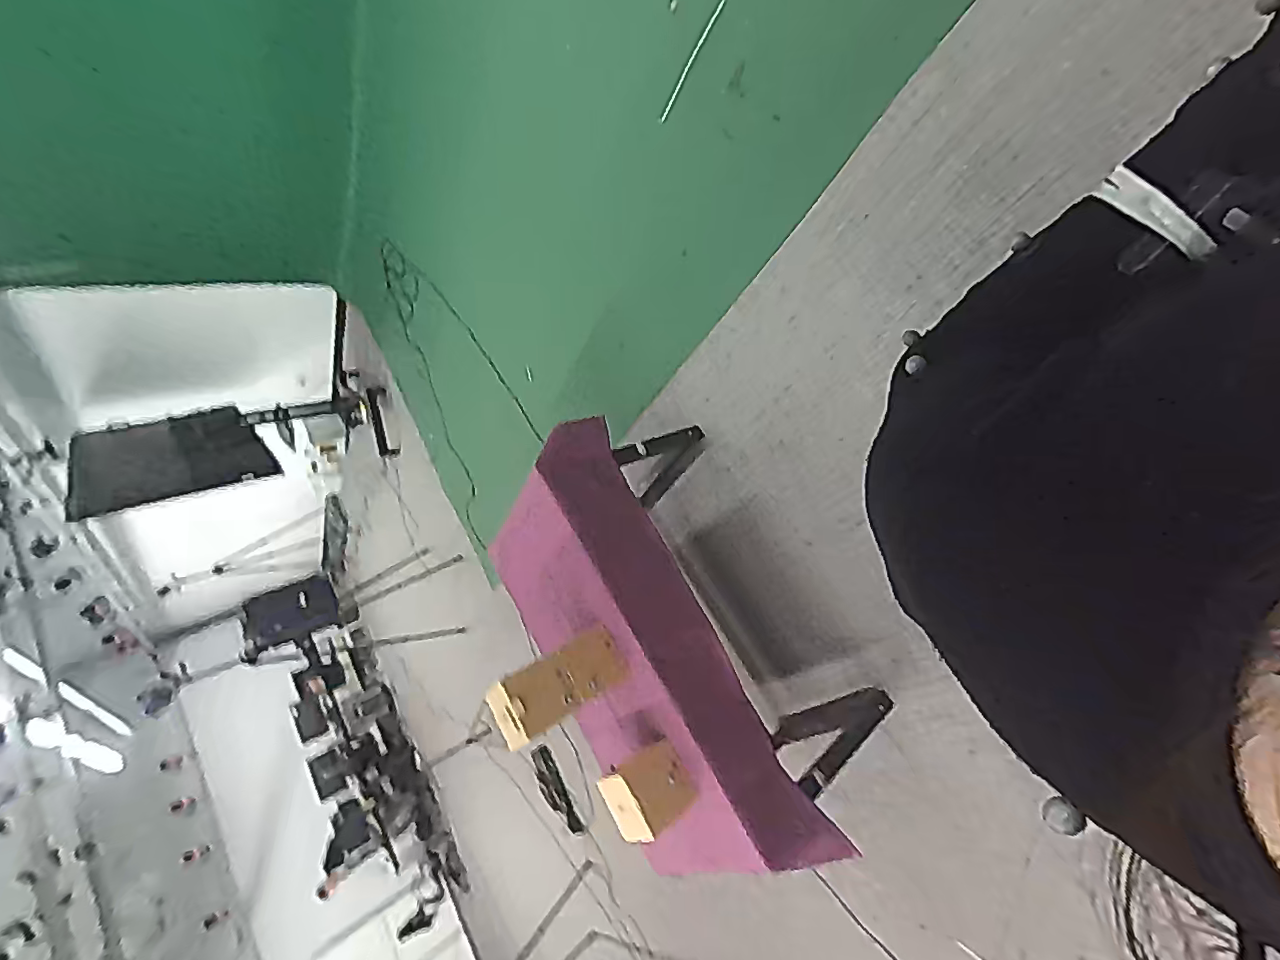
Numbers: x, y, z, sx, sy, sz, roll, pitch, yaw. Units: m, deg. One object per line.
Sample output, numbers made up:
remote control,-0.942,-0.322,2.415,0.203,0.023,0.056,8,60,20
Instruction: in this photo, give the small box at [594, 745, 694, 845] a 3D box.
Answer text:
small box,0.012,0.835,1.436,0.168,0.176,0.179,59,139,15

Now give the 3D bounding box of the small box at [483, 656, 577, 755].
small box,-0.288,0.595,1.436,0.168,0.176,0.179,58,140,17
